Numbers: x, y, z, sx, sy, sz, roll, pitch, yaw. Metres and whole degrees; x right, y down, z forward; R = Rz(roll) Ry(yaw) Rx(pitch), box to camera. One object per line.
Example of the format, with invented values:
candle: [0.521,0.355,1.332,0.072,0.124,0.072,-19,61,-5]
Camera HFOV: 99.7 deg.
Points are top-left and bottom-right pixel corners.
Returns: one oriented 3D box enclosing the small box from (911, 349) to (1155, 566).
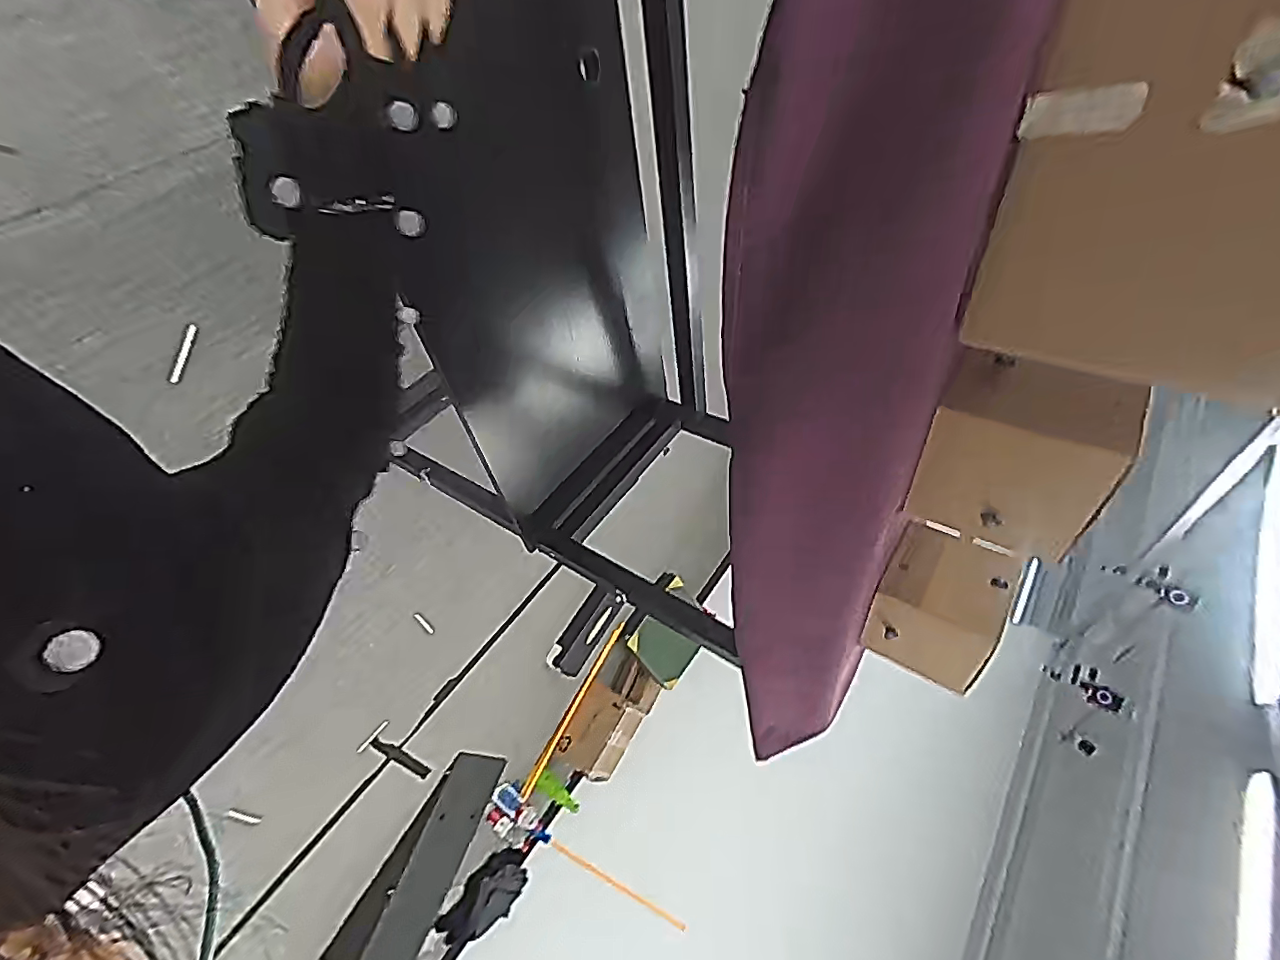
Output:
small box: [0.428,-0.041,0.611,0.168,0.176,0.179,-49,146,-30]

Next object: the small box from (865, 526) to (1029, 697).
small box: [0.479,0.203,0.865,0.168,0.176,0.179,-48,146,-32]
